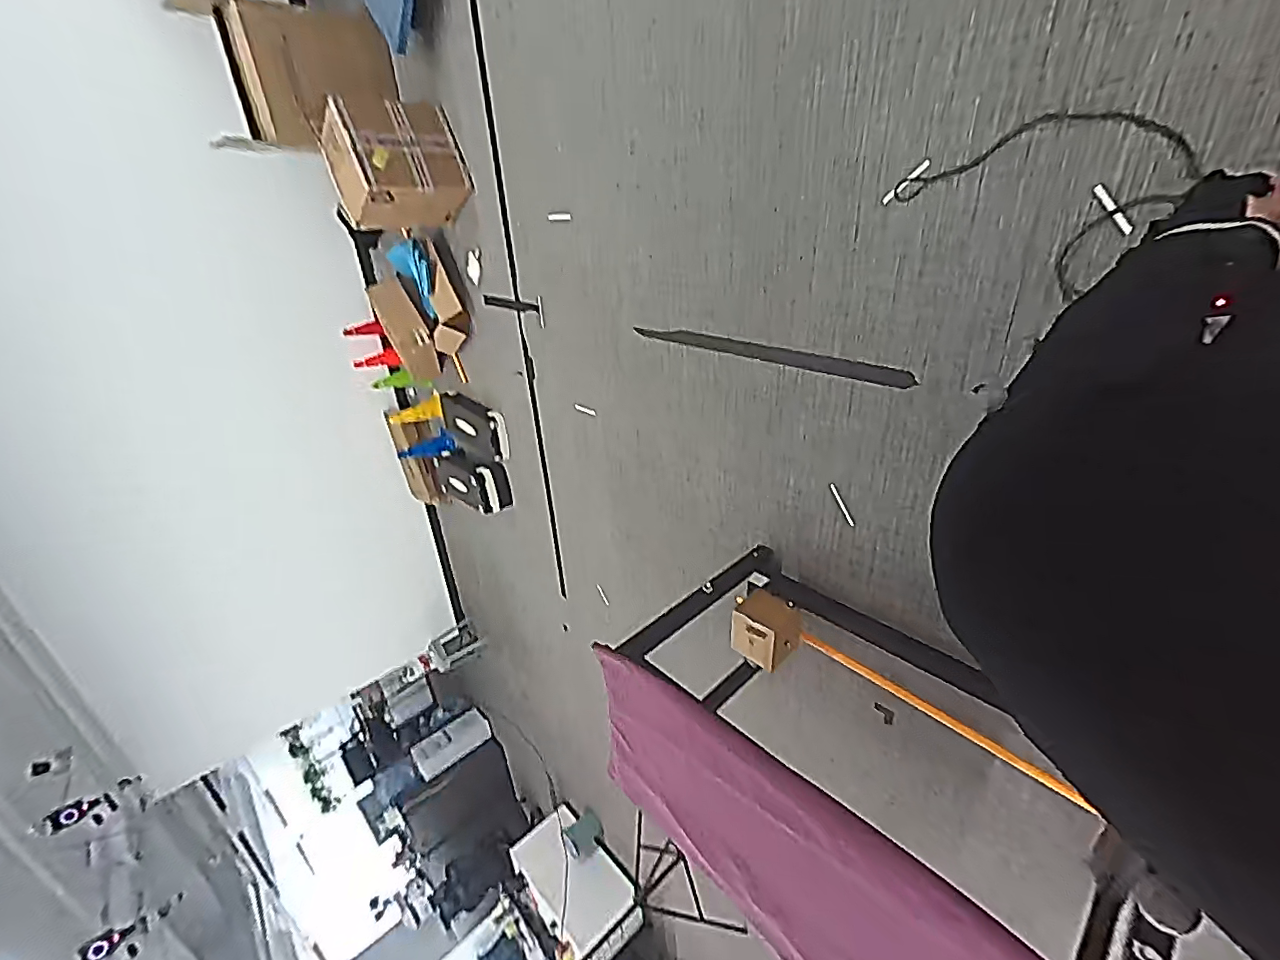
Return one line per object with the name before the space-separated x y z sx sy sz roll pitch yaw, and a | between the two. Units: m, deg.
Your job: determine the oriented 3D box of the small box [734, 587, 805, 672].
small box | 0.427 0.482 1.780 0.168 0.176 0.179 24 129 41
